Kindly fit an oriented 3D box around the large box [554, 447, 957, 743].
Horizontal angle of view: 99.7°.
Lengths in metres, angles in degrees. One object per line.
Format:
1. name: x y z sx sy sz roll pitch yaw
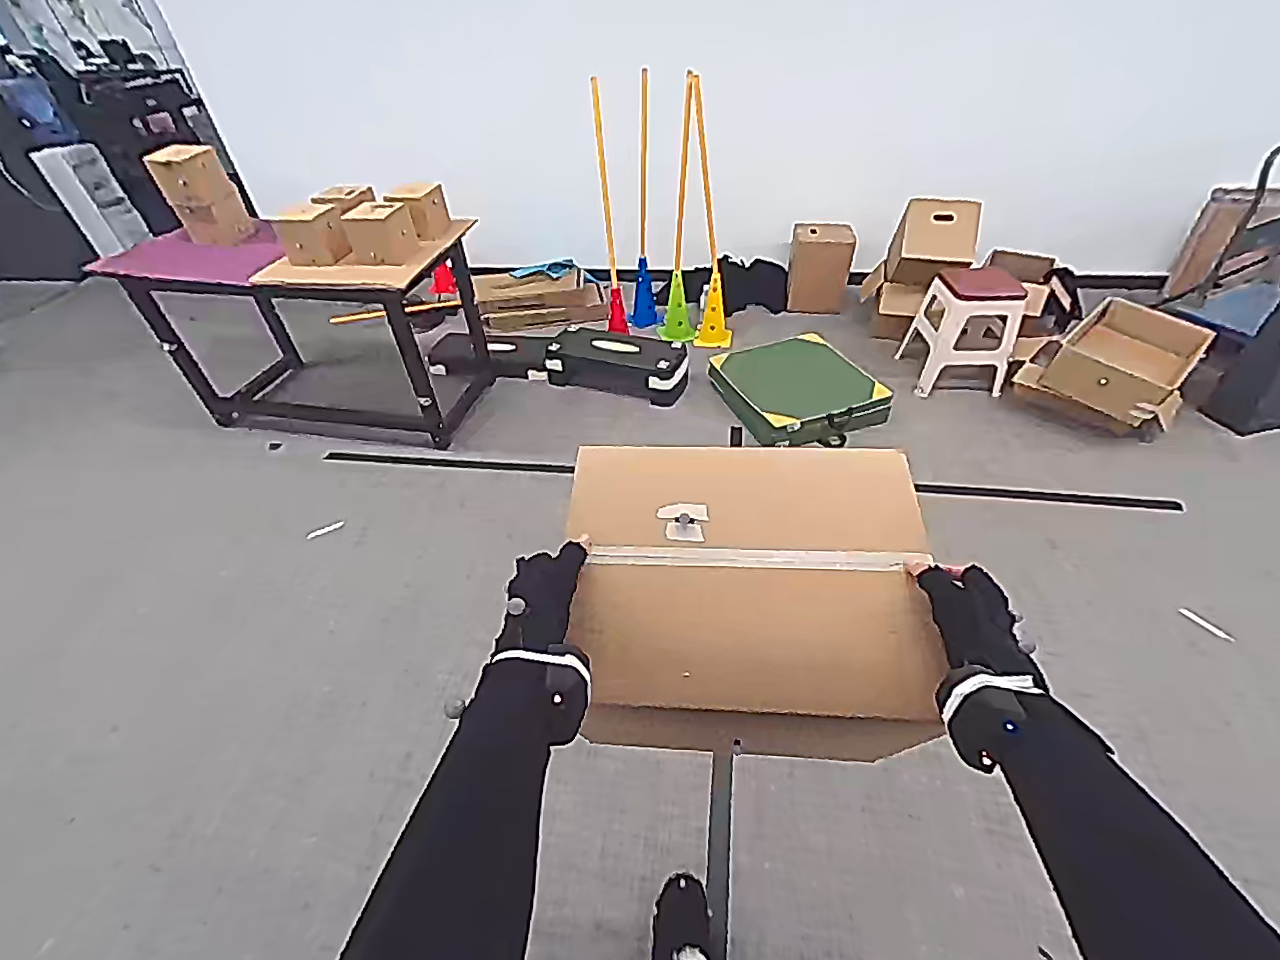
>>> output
1. large box: 0.129 0.169 0.739 0.408 0.320 0.320 0 56 6
